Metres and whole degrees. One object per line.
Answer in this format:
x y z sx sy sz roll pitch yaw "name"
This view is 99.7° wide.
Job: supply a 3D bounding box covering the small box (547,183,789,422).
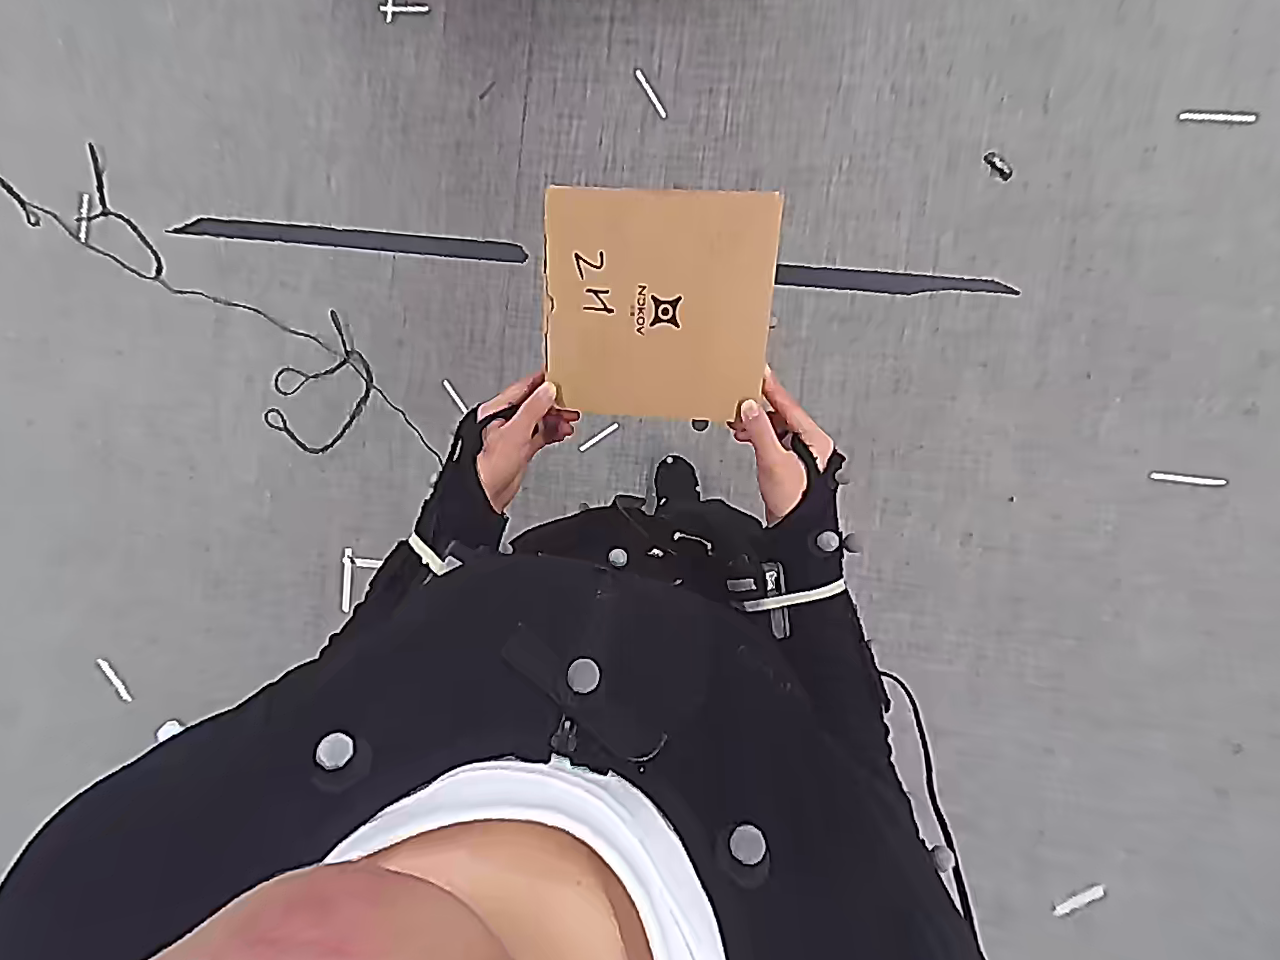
0.025 -0.155 0.488 0.179 0.176 0.168 6 107 7 "small box"
